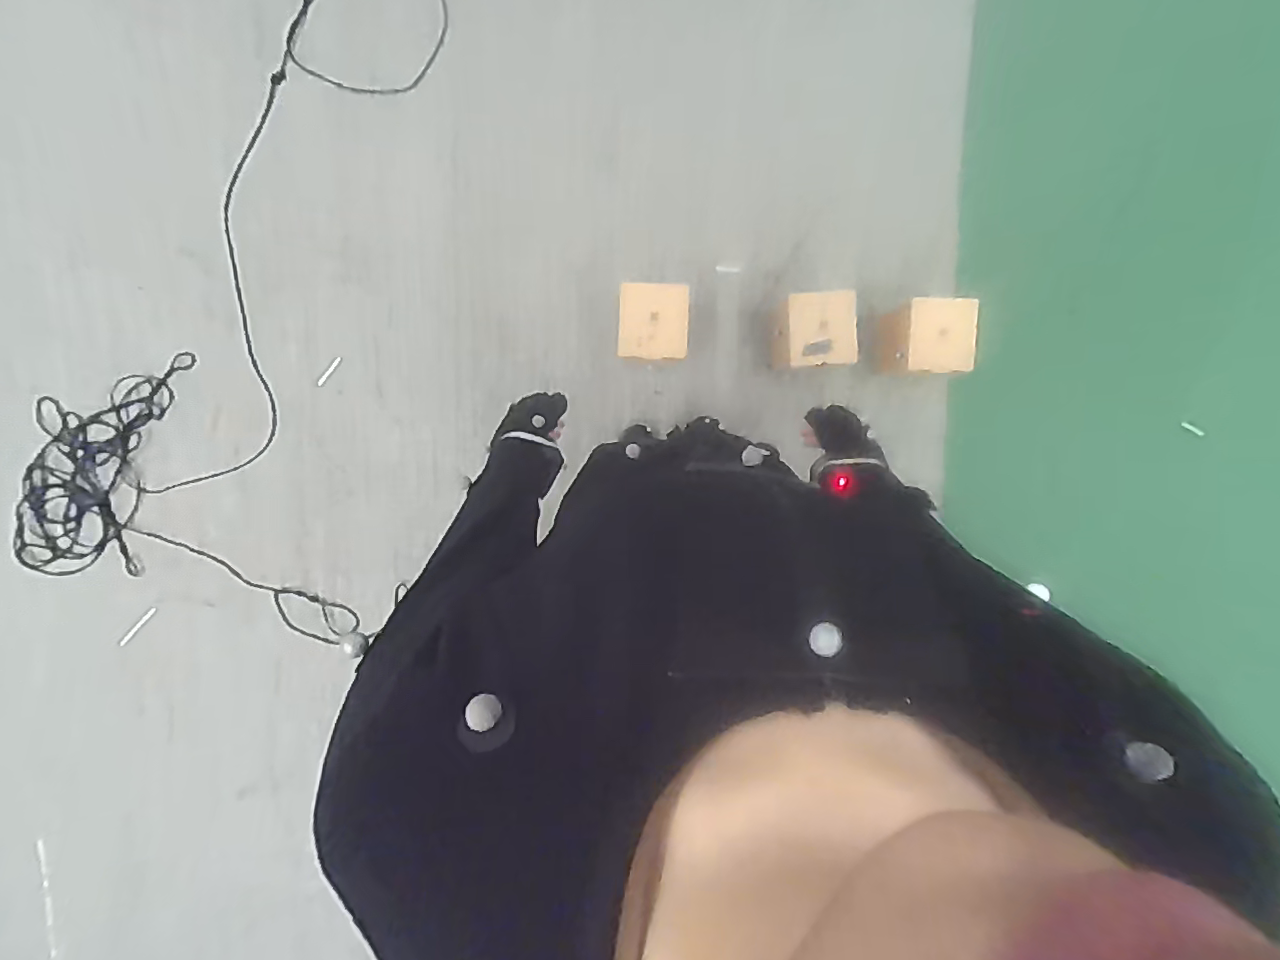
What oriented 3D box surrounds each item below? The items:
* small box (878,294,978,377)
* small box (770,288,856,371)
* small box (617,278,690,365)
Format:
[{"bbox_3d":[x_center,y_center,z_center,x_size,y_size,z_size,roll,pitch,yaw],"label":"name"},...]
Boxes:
[{"bbox_3d":[0.724,-0.361,1.375,0.168,0.176,0.179,1,95,-1],"label":"small box"},{"bbox_3d":[0.431,-0.372,1.364,0.168,0.176,0.179,-3,94,-2],"label":"small box"},{"bbox_3d":[0.029,-0.389,1.349,0.168,0.176,0.179,2,95,-1],"label":"small box"}]
